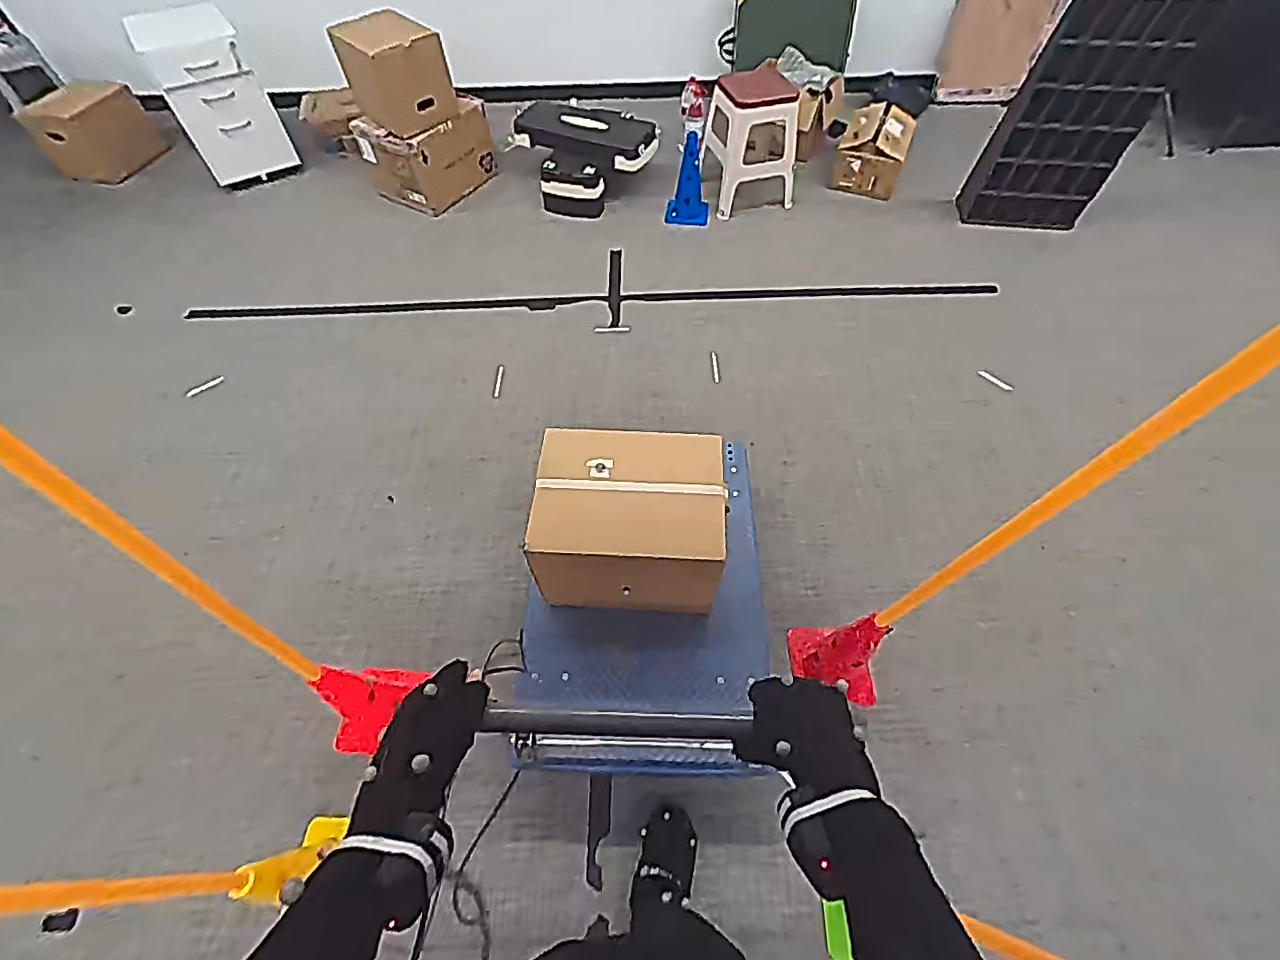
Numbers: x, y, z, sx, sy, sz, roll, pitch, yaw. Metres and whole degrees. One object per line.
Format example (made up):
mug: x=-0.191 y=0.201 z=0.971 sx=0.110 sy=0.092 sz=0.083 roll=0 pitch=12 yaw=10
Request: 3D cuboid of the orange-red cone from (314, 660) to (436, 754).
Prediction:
orange-red cone: x=-0.633 y=0.474 z=1.220 sx=0.198 sy=0.360 sz=0.199 roll=6 pitch=55 yaw=4

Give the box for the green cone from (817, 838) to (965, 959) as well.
green cone: x=0.482 y=0.779 z=0.993 sx=0.202 sy=0.368 sz=0.200 roll=3 pitch=56 yaw=1

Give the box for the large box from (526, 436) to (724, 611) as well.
large box: x=-0.020 y=0.111 z=1.280 sx=0.408 sy=0.320 sz=0.320 roll=2 pitch=57 yaw=3

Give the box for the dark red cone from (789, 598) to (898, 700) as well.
dark red cone: x=0.495 y=0.367 z=1.249 sx=0.201 sy=0.394 sz=0.202 roll=0 pitch=56 yaw=-1
